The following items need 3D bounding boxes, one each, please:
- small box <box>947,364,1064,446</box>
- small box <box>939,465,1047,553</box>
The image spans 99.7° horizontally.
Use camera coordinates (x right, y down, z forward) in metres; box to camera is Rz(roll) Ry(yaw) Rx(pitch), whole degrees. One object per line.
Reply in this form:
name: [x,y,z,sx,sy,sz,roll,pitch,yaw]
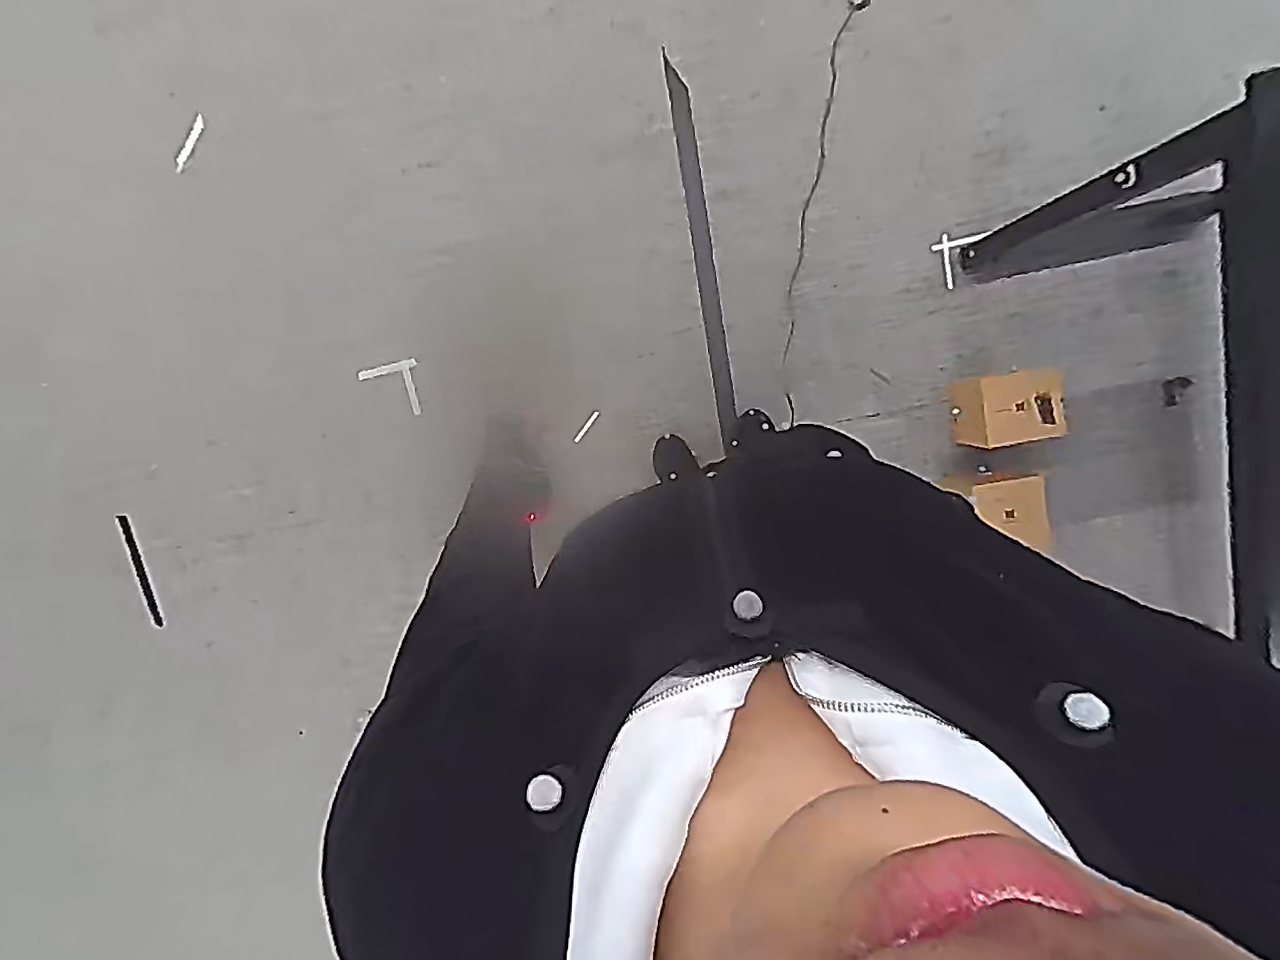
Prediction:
small box: [0.893,-0.186,1.331,0.179,0.176,0.168,-11,97,7]
small box: [0.887,0.069,1.370,0.168,0.176,0.179,-11,97,5]
